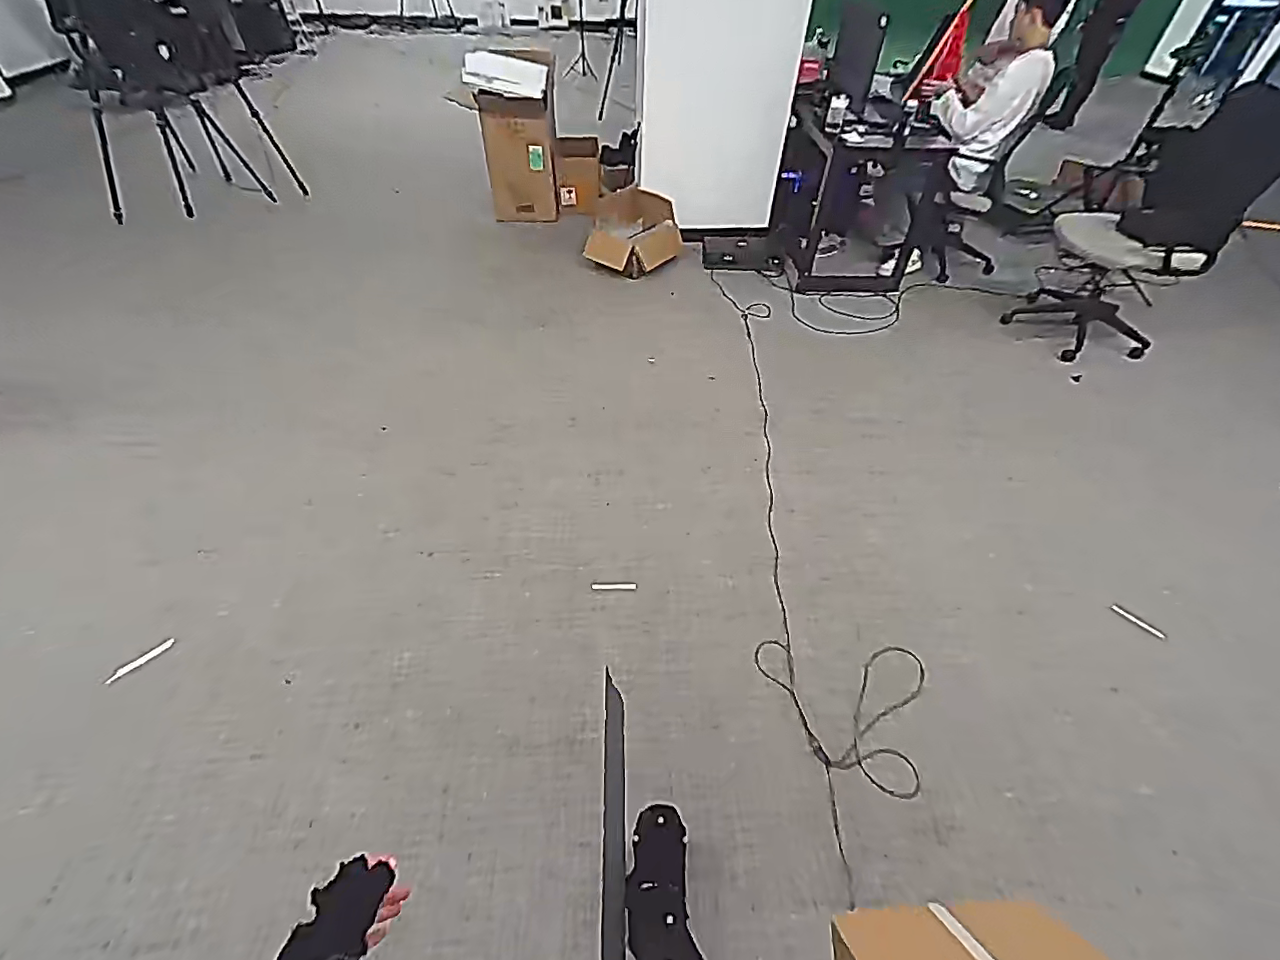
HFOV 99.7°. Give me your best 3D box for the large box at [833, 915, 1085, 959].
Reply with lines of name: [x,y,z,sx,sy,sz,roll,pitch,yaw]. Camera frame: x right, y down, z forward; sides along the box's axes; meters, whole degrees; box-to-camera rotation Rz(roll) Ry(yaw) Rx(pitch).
large box: [0.443,0.761,0.579,0.320,0.408,0.320,-1,79,-3]
